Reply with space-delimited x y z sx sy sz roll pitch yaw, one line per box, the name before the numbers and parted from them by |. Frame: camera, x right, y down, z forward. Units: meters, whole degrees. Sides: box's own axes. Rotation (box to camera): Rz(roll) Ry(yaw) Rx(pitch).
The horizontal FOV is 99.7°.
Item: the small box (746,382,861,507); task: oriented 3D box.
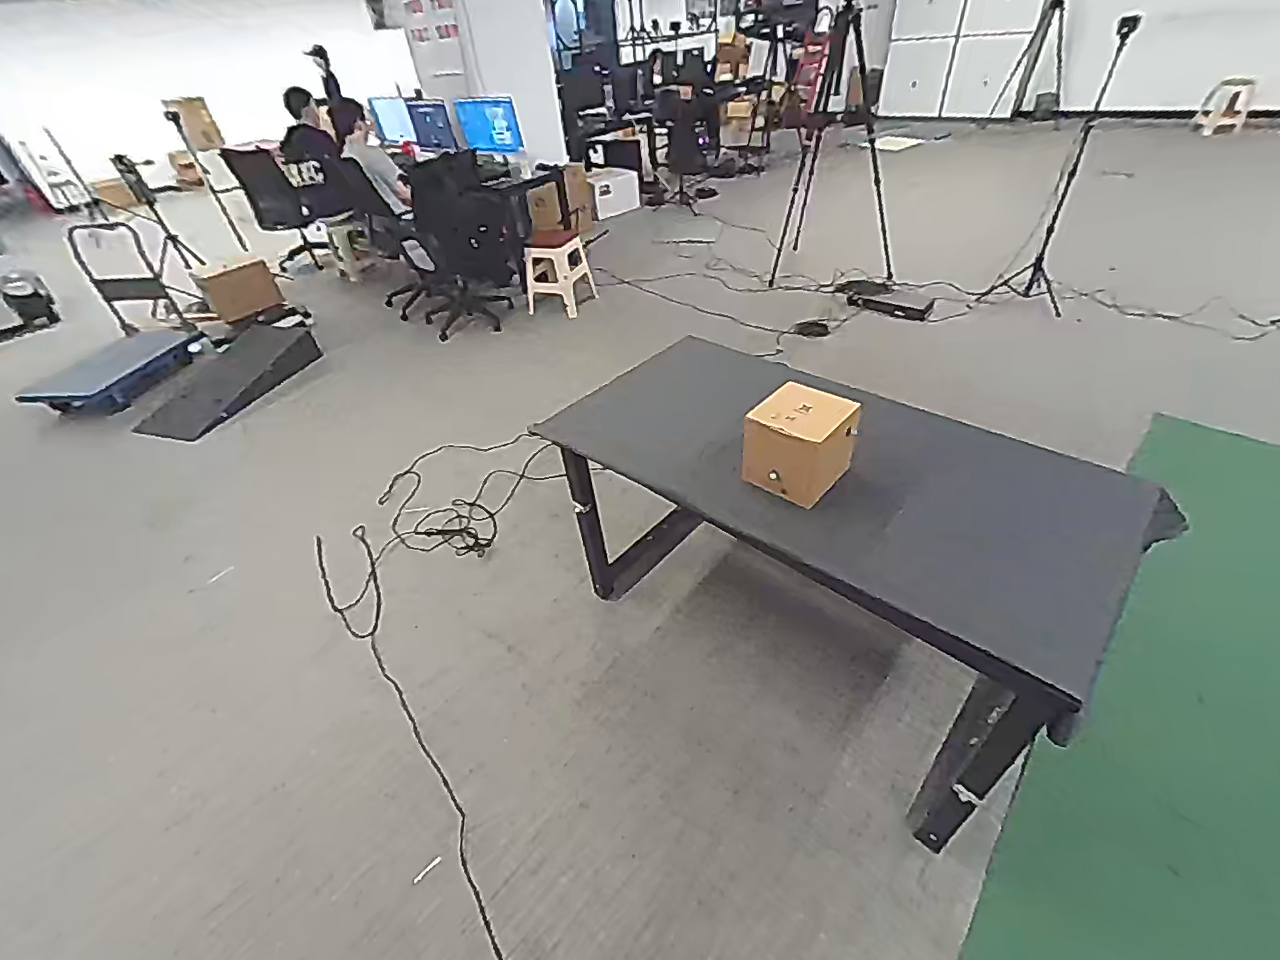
small box | 0.334 -0.077 1.136 0.168 0.176 0.179 28 50 34
